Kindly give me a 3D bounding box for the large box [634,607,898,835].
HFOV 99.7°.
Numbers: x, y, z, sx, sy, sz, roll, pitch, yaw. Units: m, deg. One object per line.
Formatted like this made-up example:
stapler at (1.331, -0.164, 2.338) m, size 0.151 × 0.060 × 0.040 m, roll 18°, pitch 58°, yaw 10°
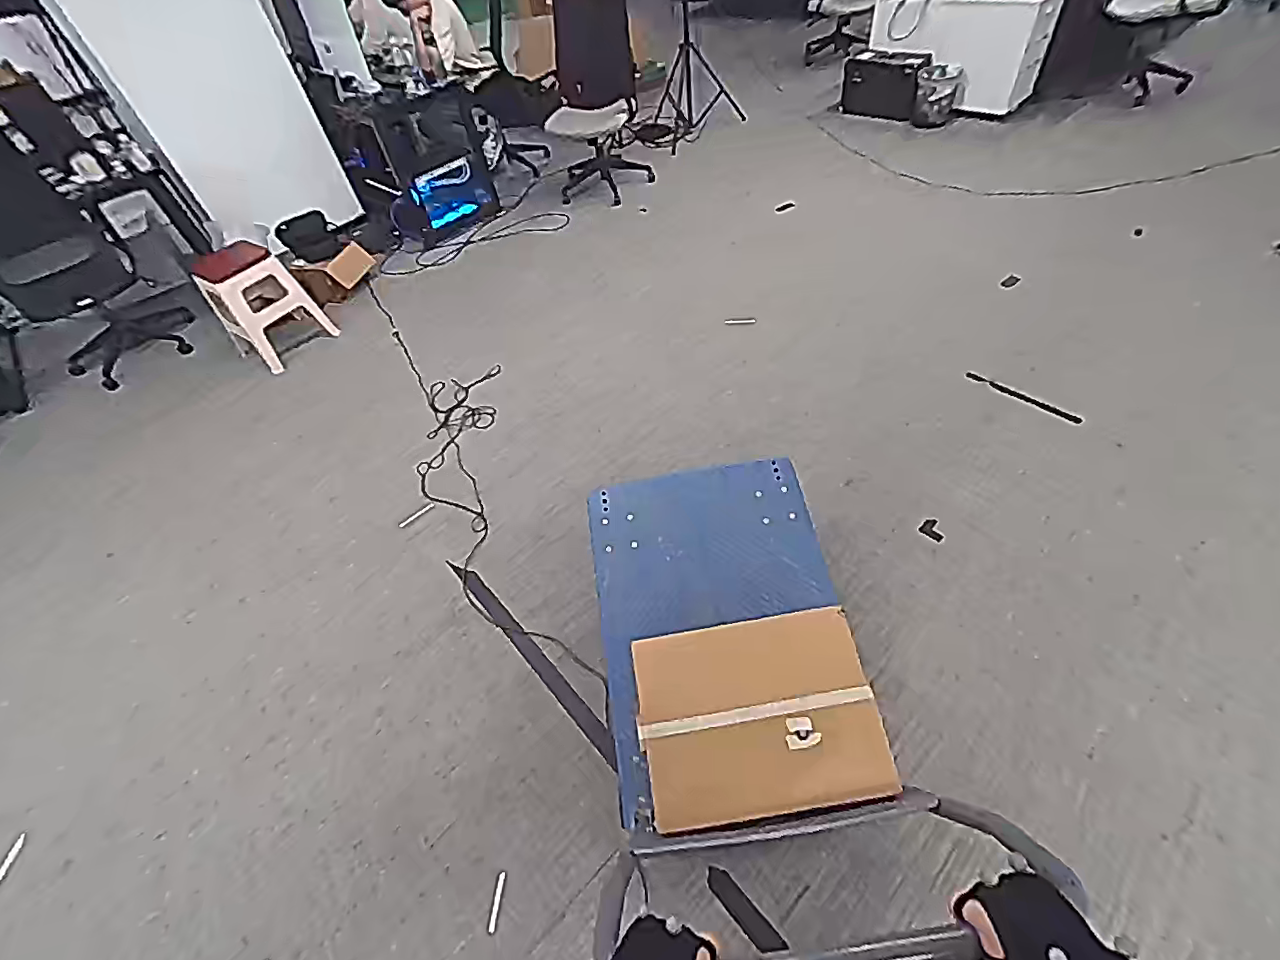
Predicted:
large box at (0.220, 0.482, 1.090) m, size 0.408 × 0.320 × 0.320 m, roll -11°, pitch 63°, yaw 0°
